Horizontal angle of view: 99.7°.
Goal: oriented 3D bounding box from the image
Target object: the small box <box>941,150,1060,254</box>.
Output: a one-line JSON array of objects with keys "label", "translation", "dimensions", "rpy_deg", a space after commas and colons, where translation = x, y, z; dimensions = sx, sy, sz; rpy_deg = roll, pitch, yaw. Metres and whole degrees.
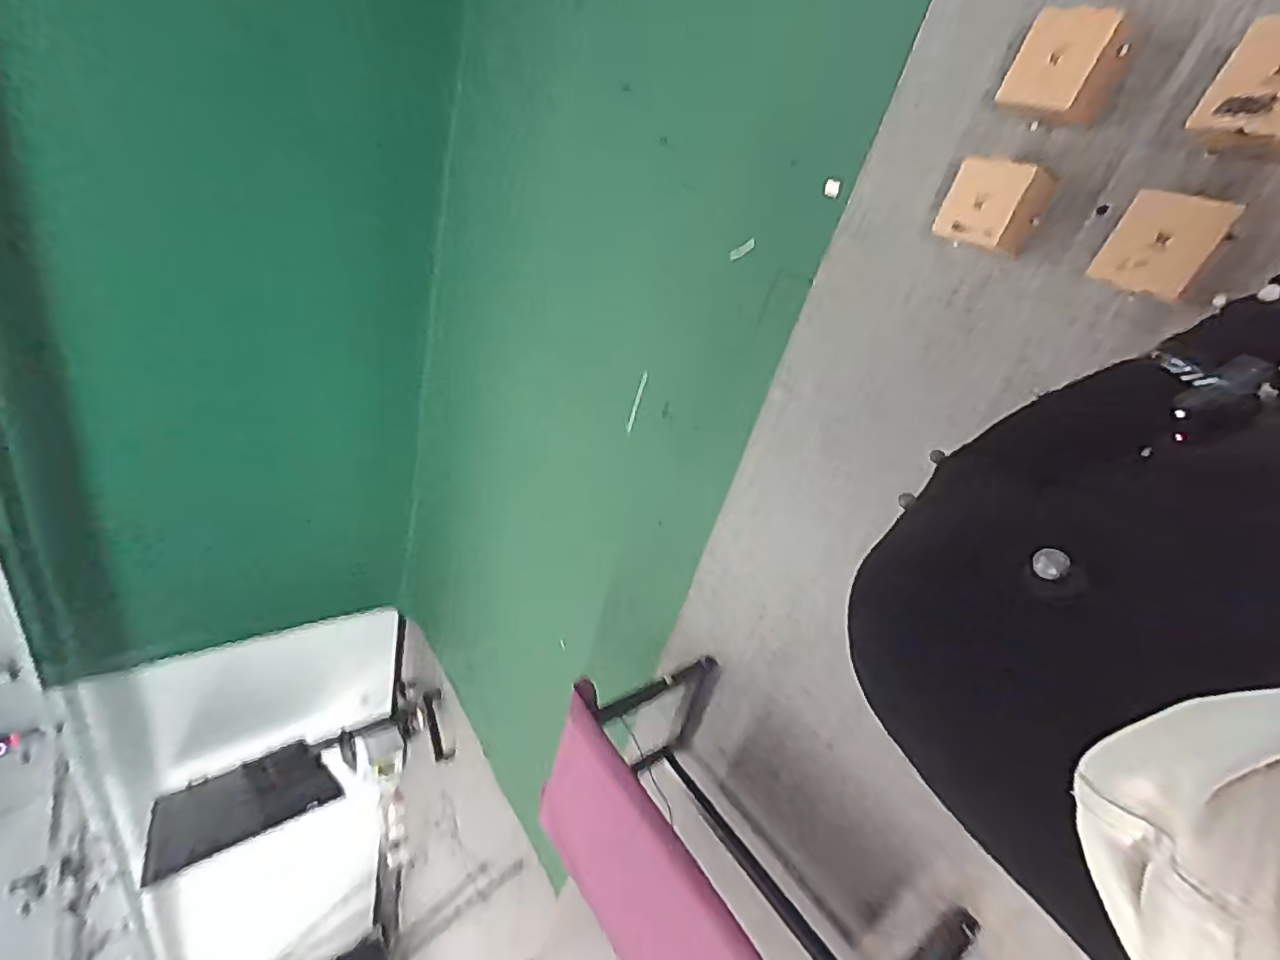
[{"label": "small box", "translation": [0.891, -0.680, 1.331], "dimensions": [0.168, 0.176, 0.179], "rpy_deg": [42, 125, 38]}]

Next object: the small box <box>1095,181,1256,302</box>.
[{"label": "small box", "translation": [1.099, -0.485, 1.115], "dimensions": [0.168, 0.176, 0.179], "rpy_deg": [43, 127, 37]}]

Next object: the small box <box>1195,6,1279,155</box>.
[{"label": "small box", "translation": [1.180, -0.715, 0.982], "dimensions": [0.168, 0.176, 0.179], "rpy_deg": [44, 126, 37]}]
